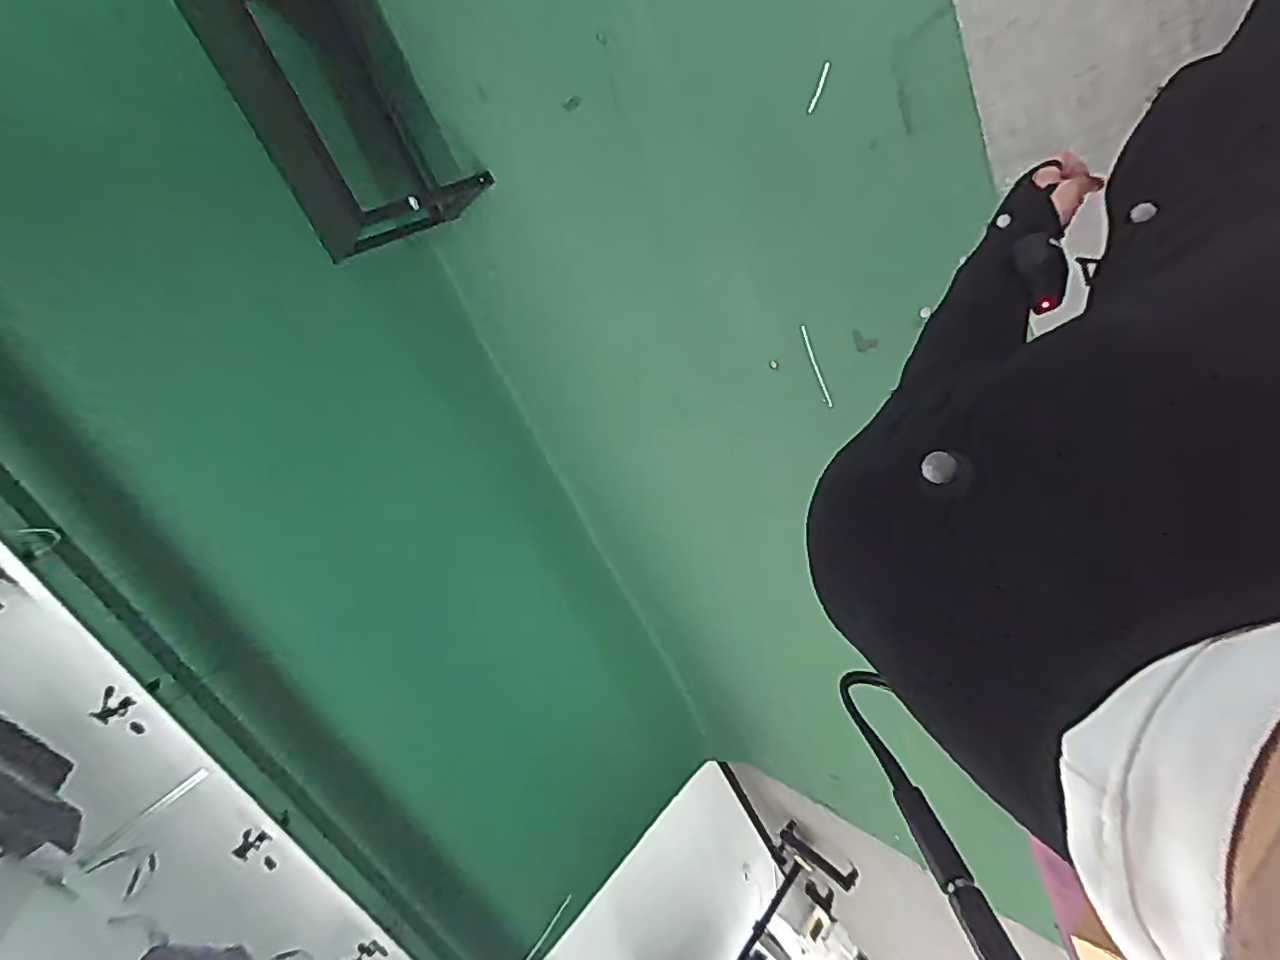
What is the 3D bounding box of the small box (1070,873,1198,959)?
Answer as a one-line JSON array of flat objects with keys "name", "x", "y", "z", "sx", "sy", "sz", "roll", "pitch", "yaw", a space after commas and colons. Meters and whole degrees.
[{"name": "small box", "x": 1.073, "y": 1.018, "z": 1.172, "sx": 0.168, "sy": 0.176, "sz": 0.179, "roll": -4, "pitch": 118, "yaw": 55}]
